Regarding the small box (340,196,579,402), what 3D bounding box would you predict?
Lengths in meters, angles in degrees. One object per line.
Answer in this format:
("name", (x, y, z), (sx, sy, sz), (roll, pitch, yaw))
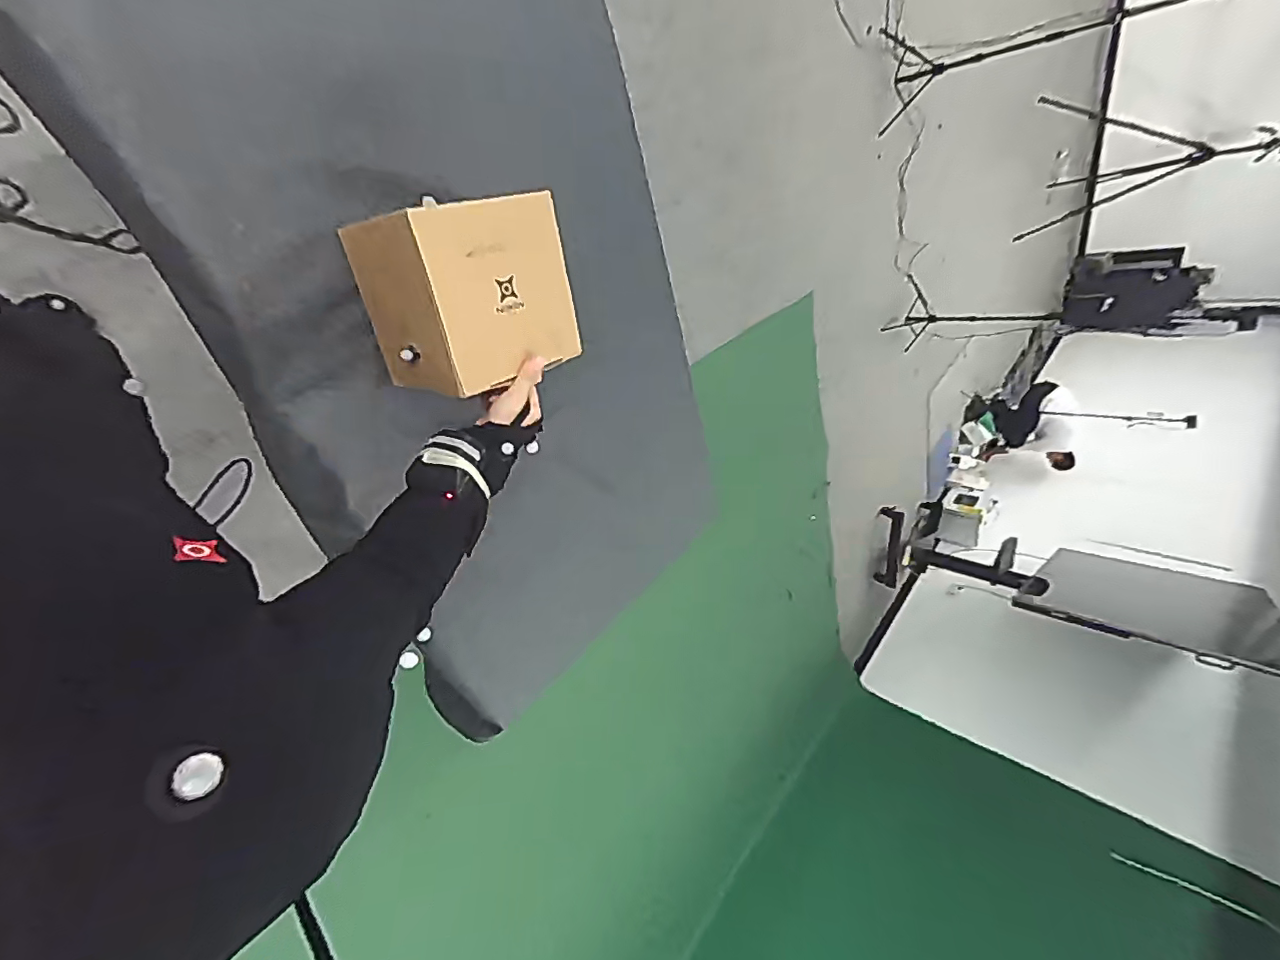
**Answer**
("small box", (-0.198, -0.204, 0.605), (0.168, 0.176, 0.179), (-33, 124, -38))
